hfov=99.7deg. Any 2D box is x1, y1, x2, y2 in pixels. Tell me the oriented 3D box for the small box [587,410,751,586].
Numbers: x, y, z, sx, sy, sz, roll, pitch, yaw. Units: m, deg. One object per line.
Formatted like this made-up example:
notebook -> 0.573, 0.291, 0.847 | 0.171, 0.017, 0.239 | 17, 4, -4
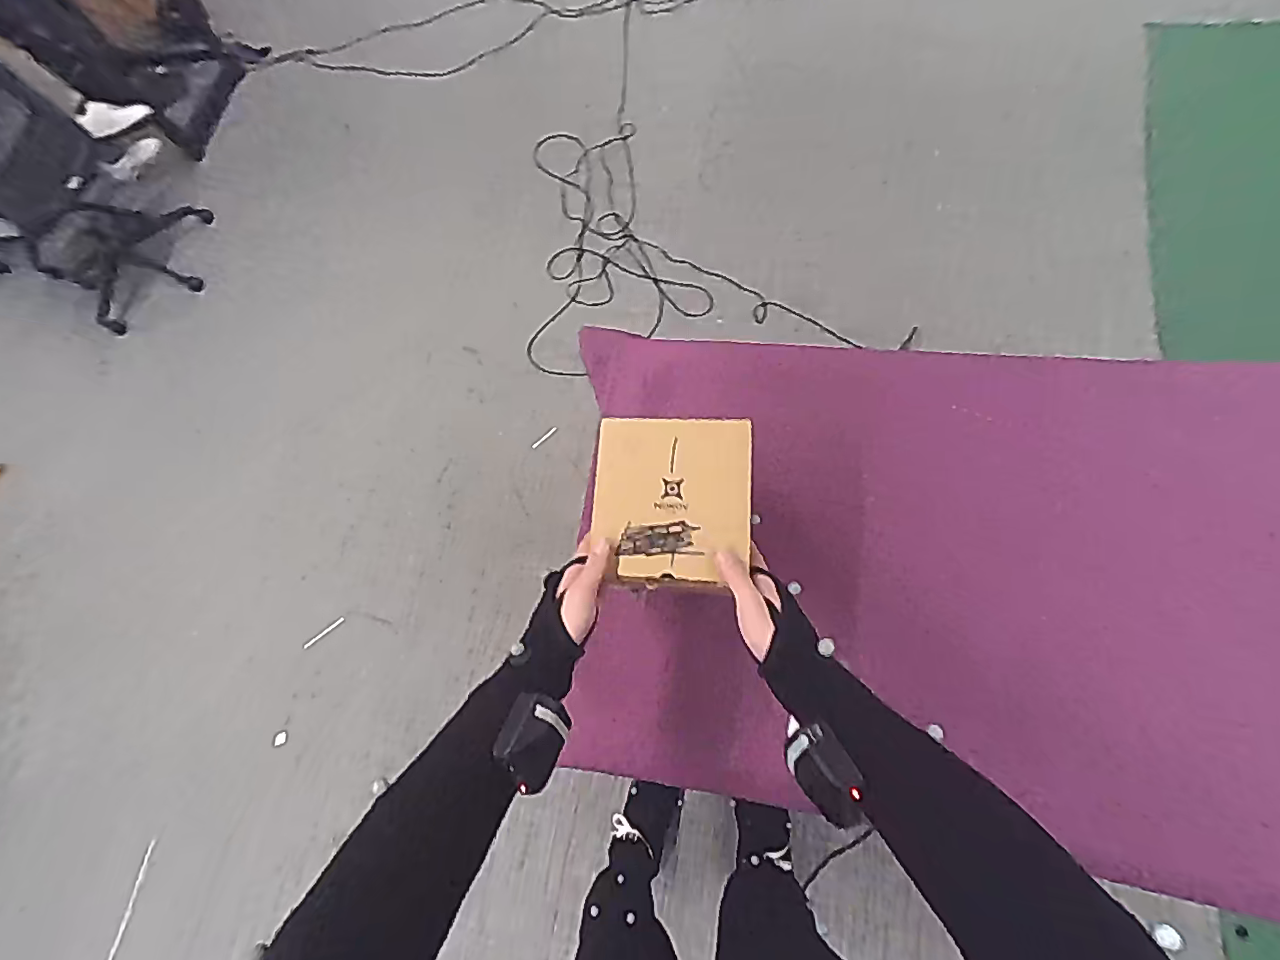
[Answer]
small box -> 0.042, 0.030, 0.645 | 0.168, 0.176, 0.179 | 3, 75, 8
